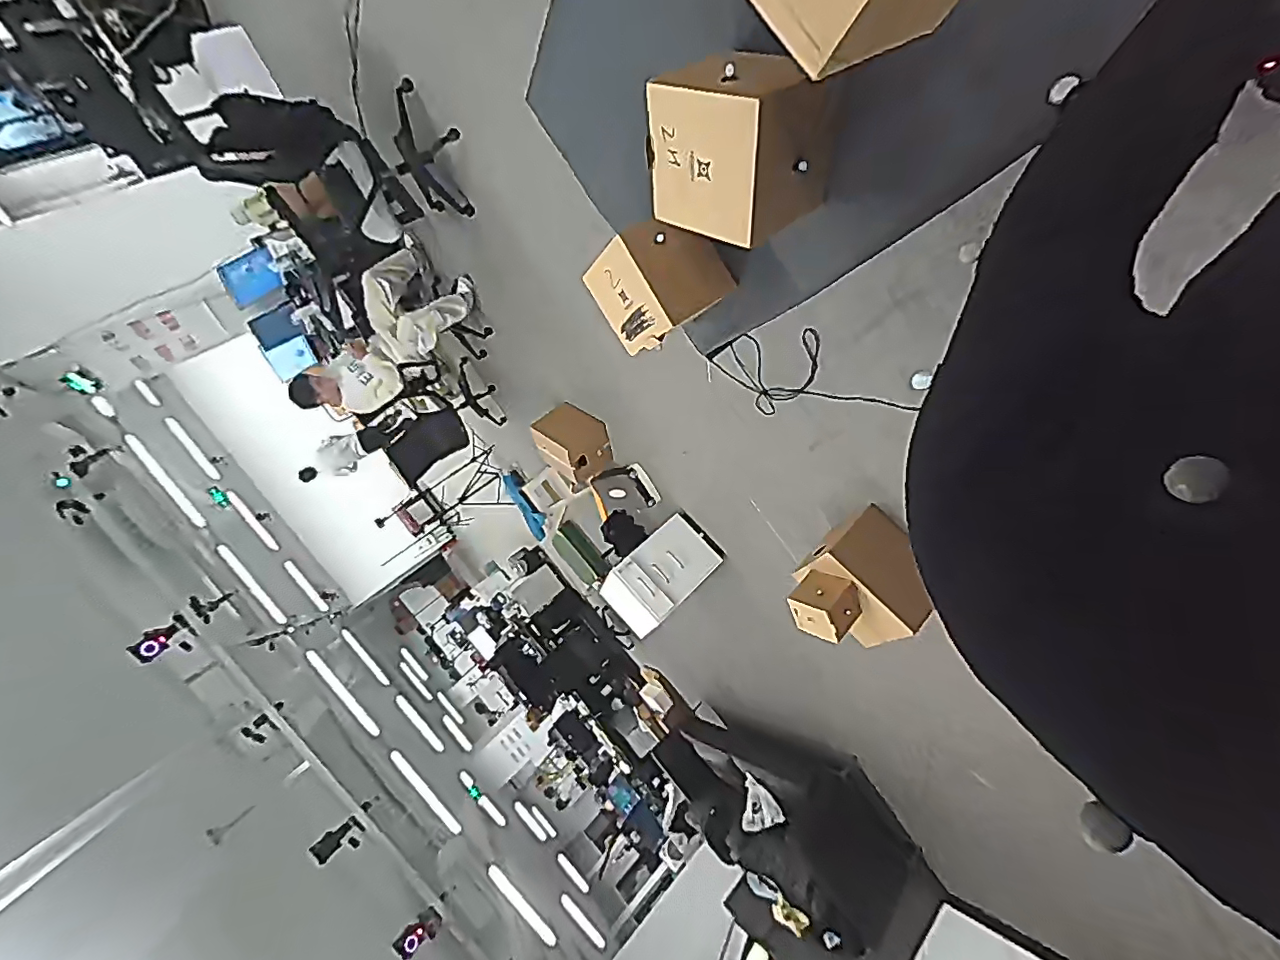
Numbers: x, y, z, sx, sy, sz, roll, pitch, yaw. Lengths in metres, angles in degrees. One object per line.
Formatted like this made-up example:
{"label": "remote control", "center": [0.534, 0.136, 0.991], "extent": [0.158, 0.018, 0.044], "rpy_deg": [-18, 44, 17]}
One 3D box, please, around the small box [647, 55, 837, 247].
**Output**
{"label": "small box", "center": [0.133, -0.440, 0.715], "extent": [0.179, 0.176, 0.168], "rpy_deg": [35, 150, 31]}

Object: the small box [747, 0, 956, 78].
{"label": "small box", "center": [0.154, -0.408, 0.335], "extent": [0.179, 0.176, 0.168], "rpy_deg": [52, 156, -1]}

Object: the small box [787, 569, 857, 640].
{"label": "small box", "center": [0.685, 0.455, 2.012], "extent": [0.179, 0.176, 0.168], "rpy_deg": [10, 133, 52]}
